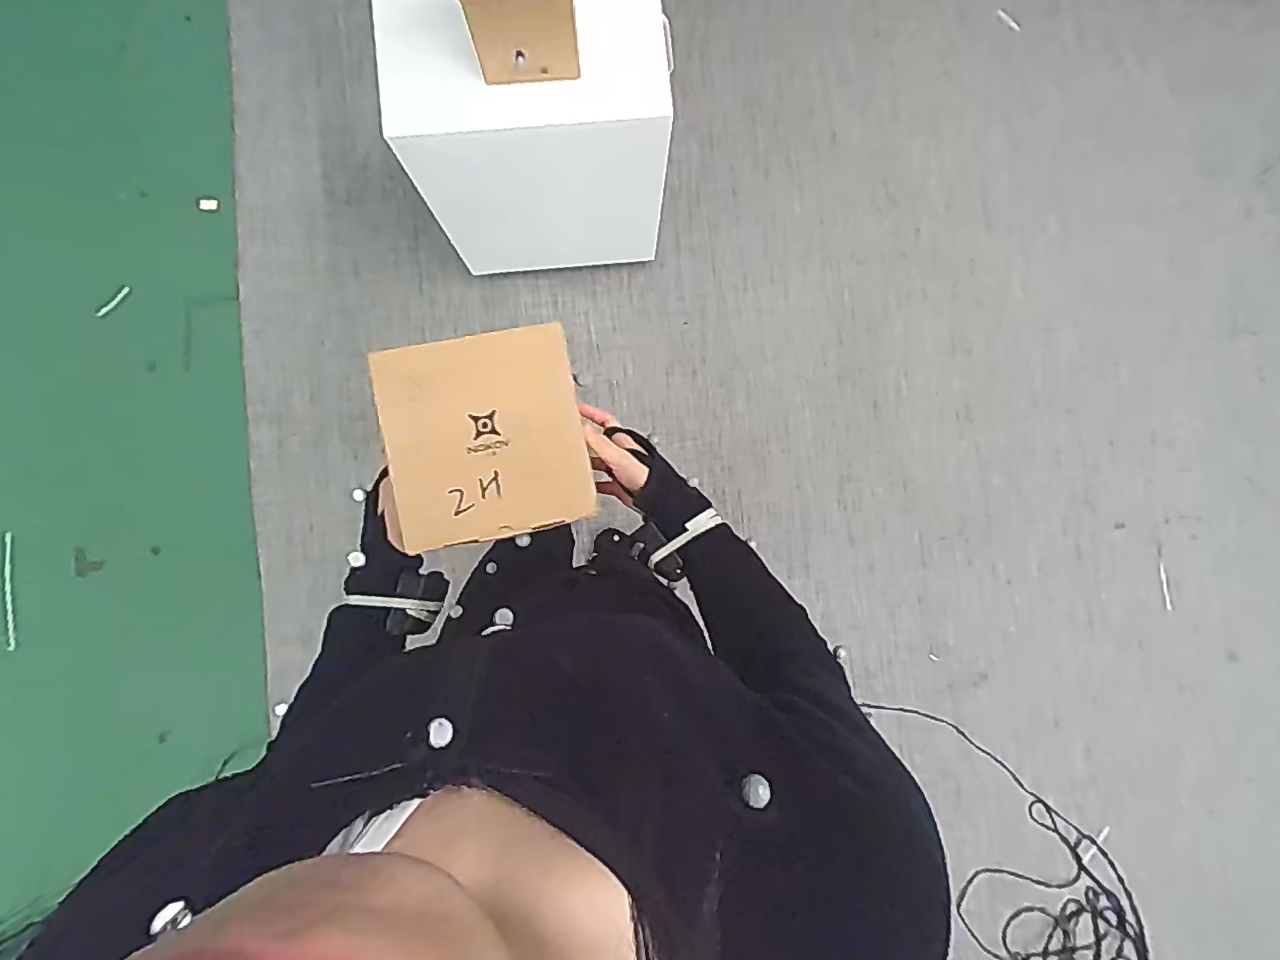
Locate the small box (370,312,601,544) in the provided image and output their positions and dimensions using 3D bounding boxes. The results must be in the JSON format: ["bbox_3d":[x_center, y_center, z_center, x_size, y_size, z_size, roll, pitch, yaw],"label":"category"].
[{"bbox_3d":[-0.136,-0.040,0.532,0.168,0.176,0.179,-12,88,-5],"label":"small box"}]

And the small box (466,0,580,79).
[{"bbox_3d":[-0.189,-0.787,0.860,0.168,0.176,0.179,-6,87,-2],"label":"small box"}]
